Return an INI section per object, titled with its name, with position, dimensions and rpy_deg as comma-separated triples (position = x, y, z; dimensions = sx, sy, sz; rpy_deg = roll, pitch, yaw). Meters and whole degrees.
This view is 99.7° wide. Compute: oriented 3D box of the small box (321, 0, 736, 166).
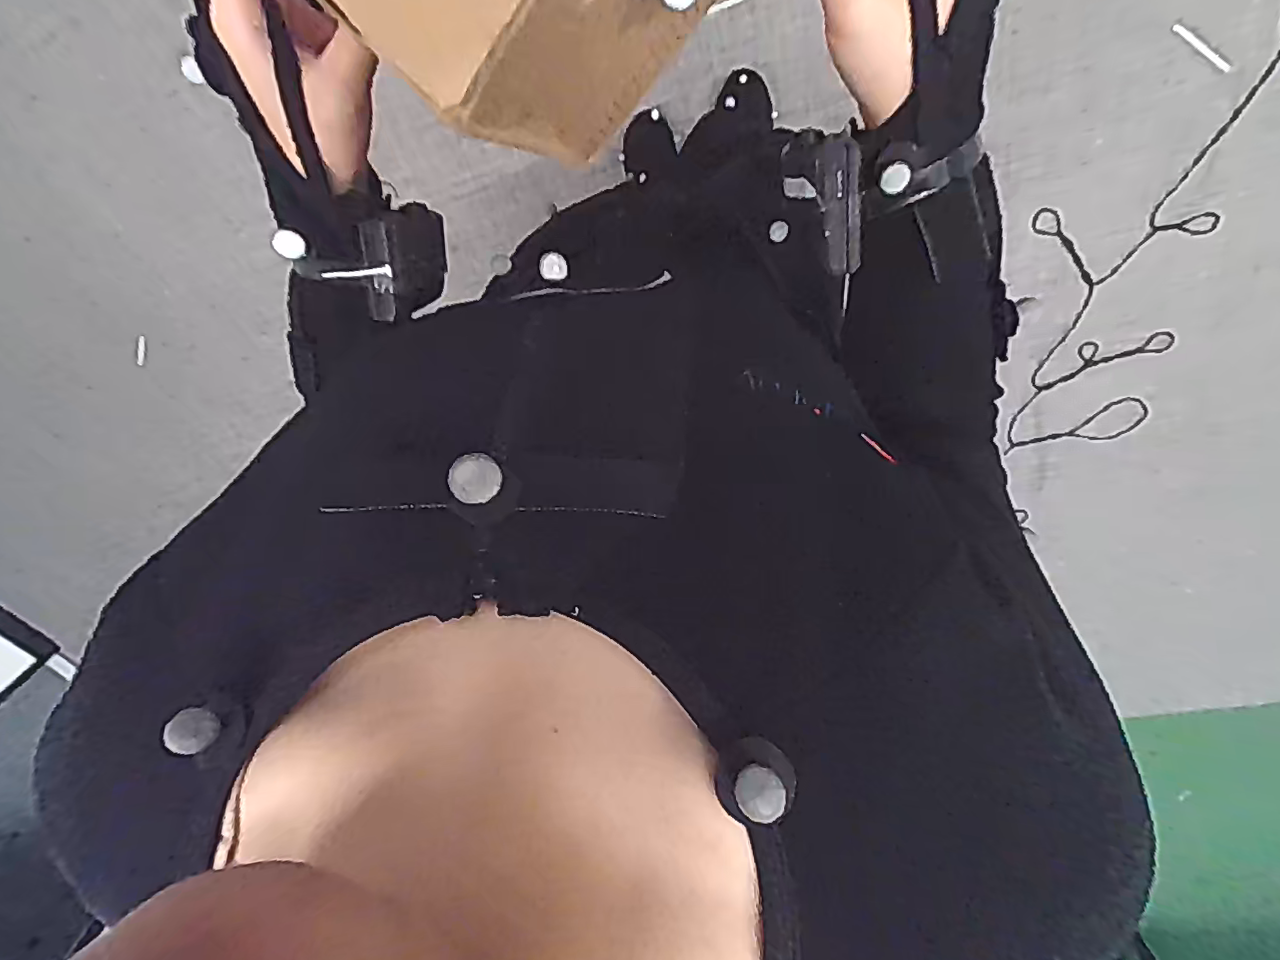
[small box]
position = -0.035, -0.235, 0.176
dimensions = 0.168, 0.176, 0.179
rpy_deg = 42, 115, -13
